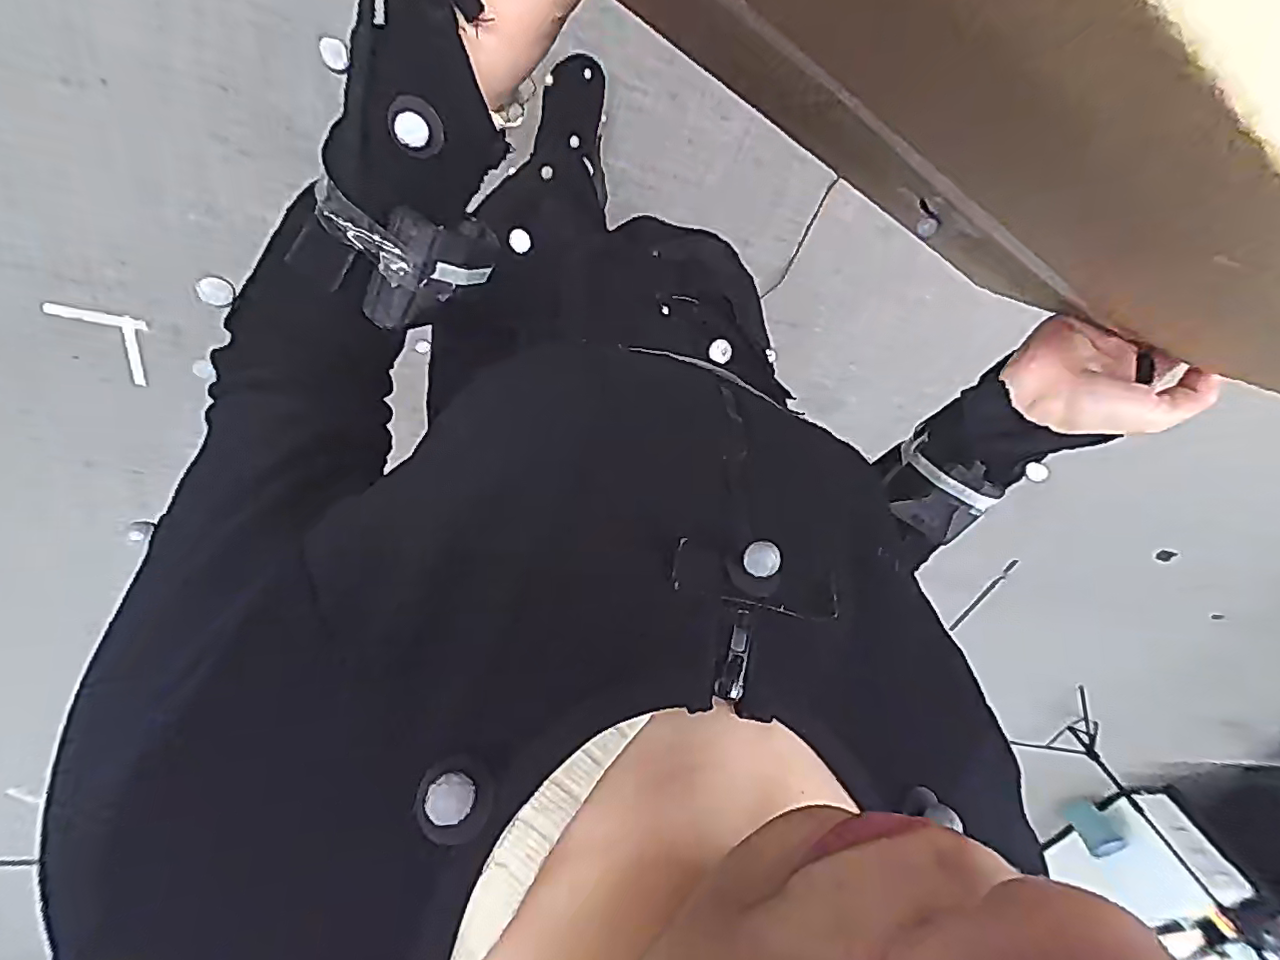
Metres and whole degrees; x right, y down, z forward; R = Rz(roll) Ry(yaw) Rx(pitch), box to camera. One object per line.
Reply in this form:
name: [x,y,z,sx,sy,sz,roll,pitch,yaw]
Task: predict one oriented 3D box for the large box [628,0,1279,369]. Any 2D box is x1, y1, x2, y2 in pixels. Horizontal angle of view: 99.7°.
large box: [0.191,-0.284,0.182,0.408,0.320,0.320,23,118,-19]
